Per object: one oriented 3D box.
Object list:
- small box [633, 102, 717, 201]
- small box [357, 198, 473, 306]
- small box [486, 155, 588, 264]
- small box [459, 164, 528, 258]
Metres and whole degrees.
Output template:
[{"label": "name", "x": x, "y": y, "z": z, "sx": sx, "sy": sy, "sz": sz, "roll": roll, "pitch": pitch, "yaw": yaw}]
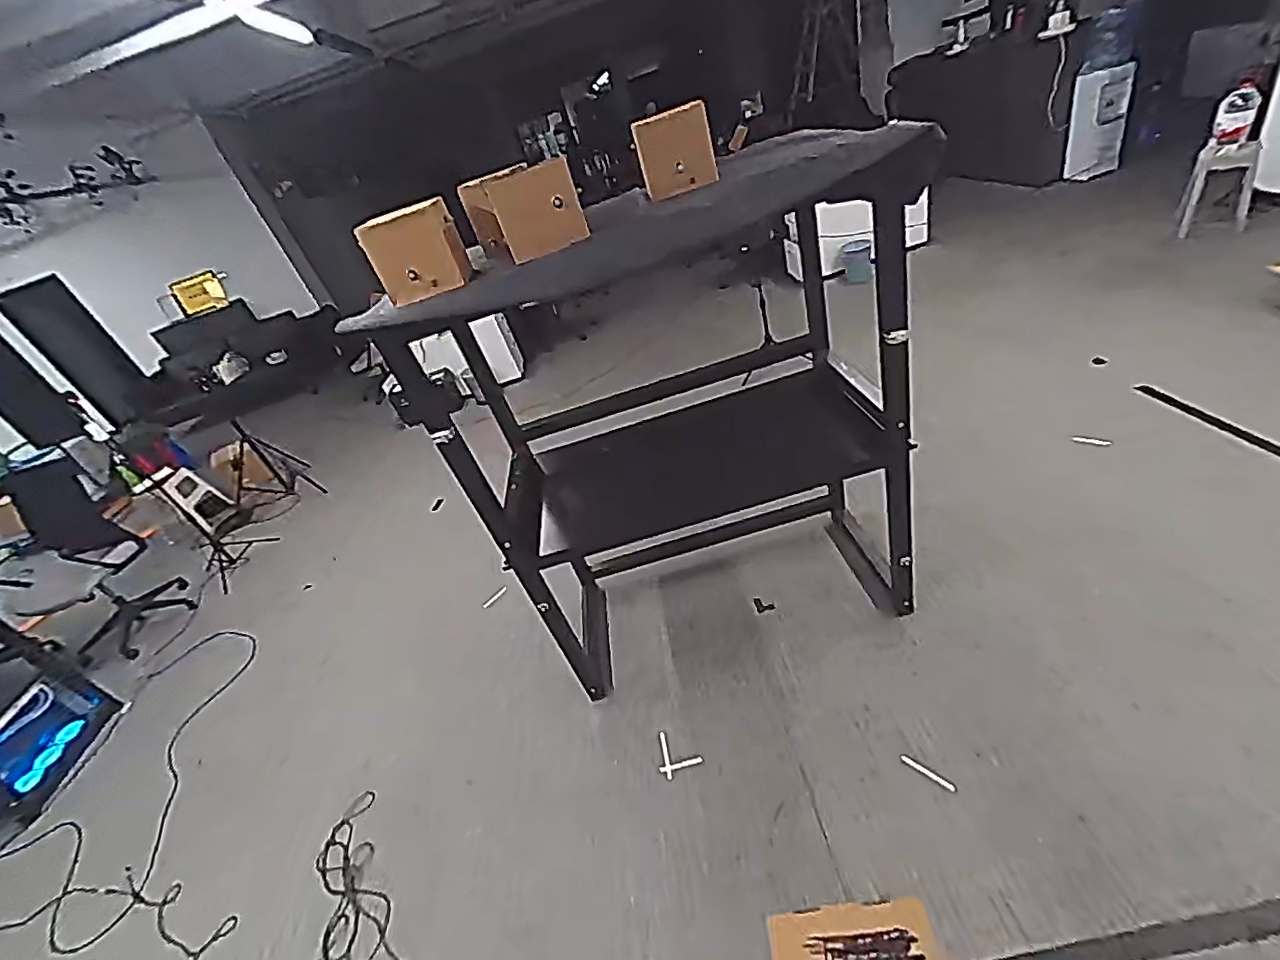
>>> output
[{"label": "small box", "x": 0.085, "y": -0.811, "z": 1.342, "sx": 0.168, "sy": 0.176, "sz": 0.179, "roll": -16, "pitch": 34, "yaw": 7}, {"label": "small box", "x": -0.487, "y": -0.506, "z": 1.204, "sx": 0.168, "sy": 0.176, "sz": 0.179, "roll": -19, "pitch": 34, "yaw": 1}, {"label": "small box", "x": -0.219, "y": -0.598, "z": 1.197, "sx": 0.179, "sy": 0.176, "sz": 0.168, "roll": -18, "pitch": 32, "yaw": 2}, {"label": "small box", "x": -0.339, "y": -0.691, "z": 1.391, "sx": 0.168, "sy": 0.176, "sz": 0.179, "roll": -17, "pitch": 33, "yaw": 5}]
